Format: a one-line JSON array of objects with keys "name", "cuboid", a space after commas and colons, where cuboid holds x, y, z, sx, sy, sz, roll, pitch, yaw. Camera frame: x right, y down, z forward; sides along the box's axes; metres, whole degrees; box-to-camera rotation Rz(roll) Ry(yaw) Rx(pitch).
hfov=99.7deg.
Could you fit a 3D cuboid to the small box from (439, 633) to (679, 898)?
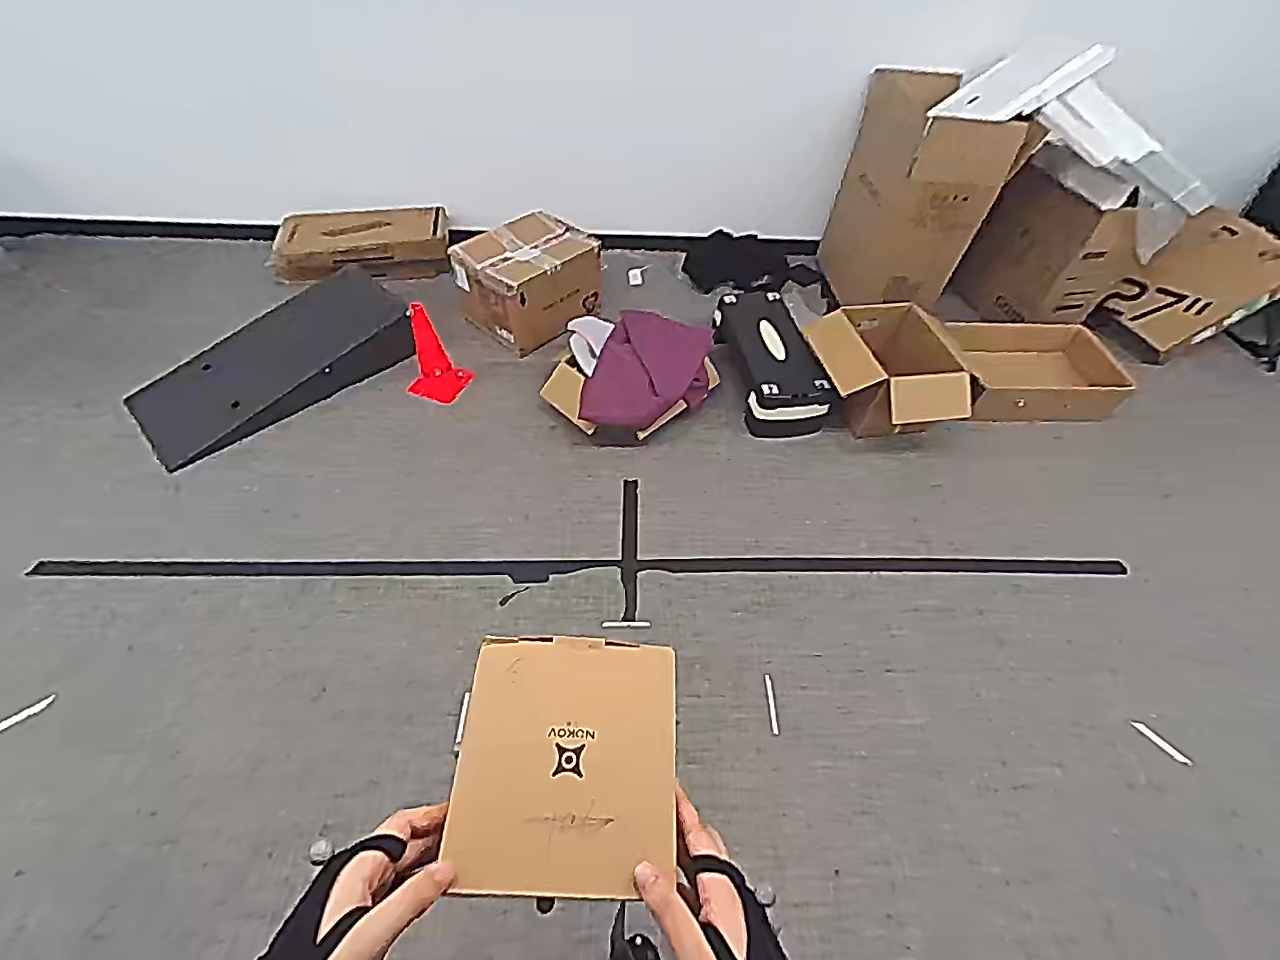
[{"name": "small box", "cuboid": [-0.059, 0.251, 0.475, 0.168, 0.176, 0.179, 4, 56, -3]}]
